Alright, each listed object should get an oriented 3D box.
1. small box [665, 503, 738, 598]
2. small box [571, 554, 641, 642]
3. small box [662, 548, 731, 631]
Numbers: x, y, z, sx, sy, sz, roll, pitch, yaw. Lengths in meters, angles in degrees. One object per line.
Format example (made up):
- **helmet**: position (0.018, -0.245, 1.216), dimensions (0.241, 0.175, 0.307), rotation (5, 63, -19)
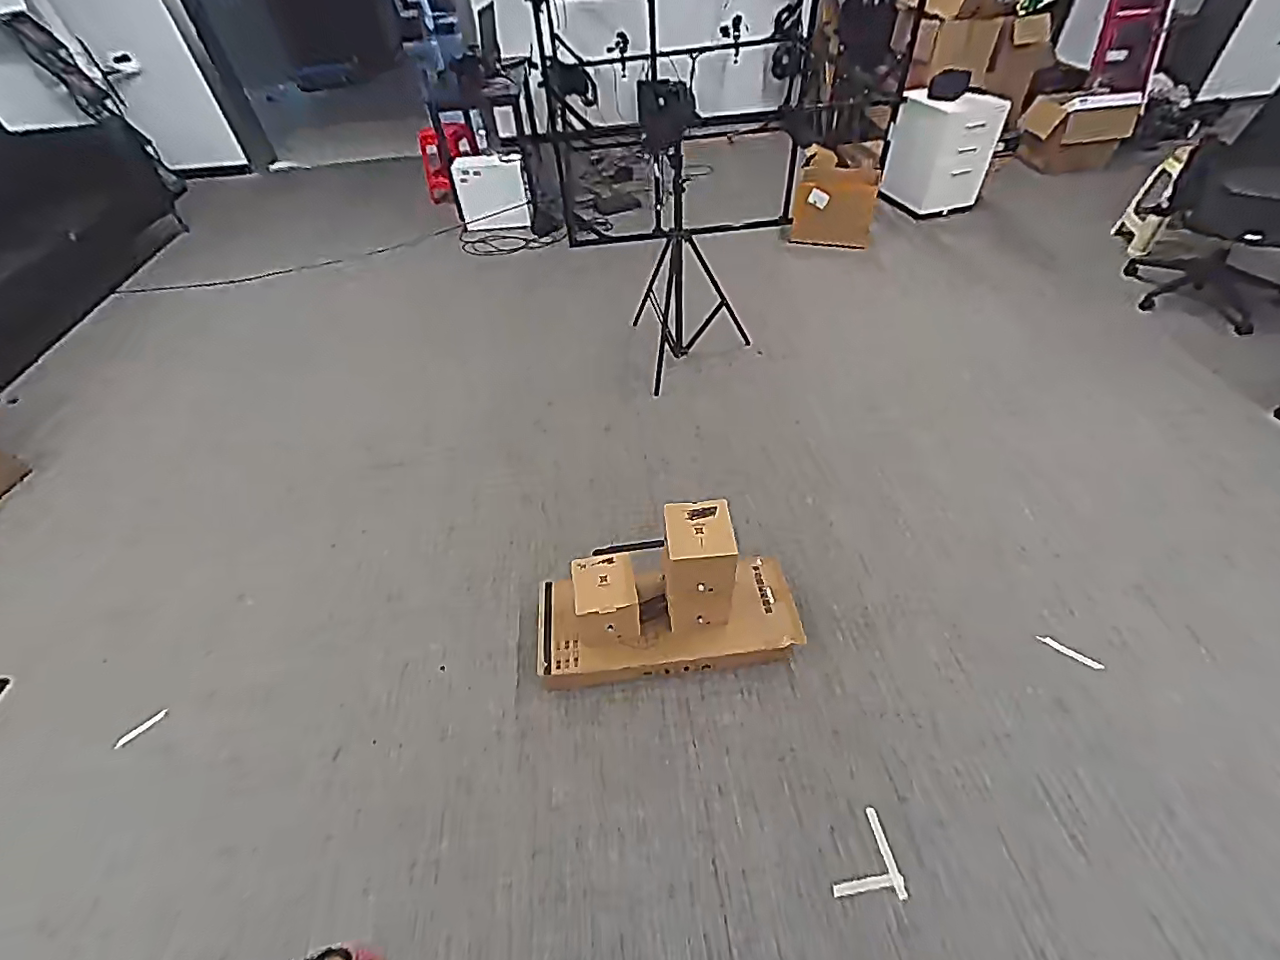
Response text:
- **small box**: position (0.151, 0.182, 1.397), dimensions (0.168, 0.176, 0.179), rotation (-5, 46, 0)
- **small box**: position (-0.093, 0.334, 1.498), dimensions (0.168, 0.176, 0.179), rotation (-9, 47, -4)
- **small box**: position (0.152, 0.298, 1.513), dimensions (0.168, 0.176, 0.179), rotation (-8, 46, -2)
